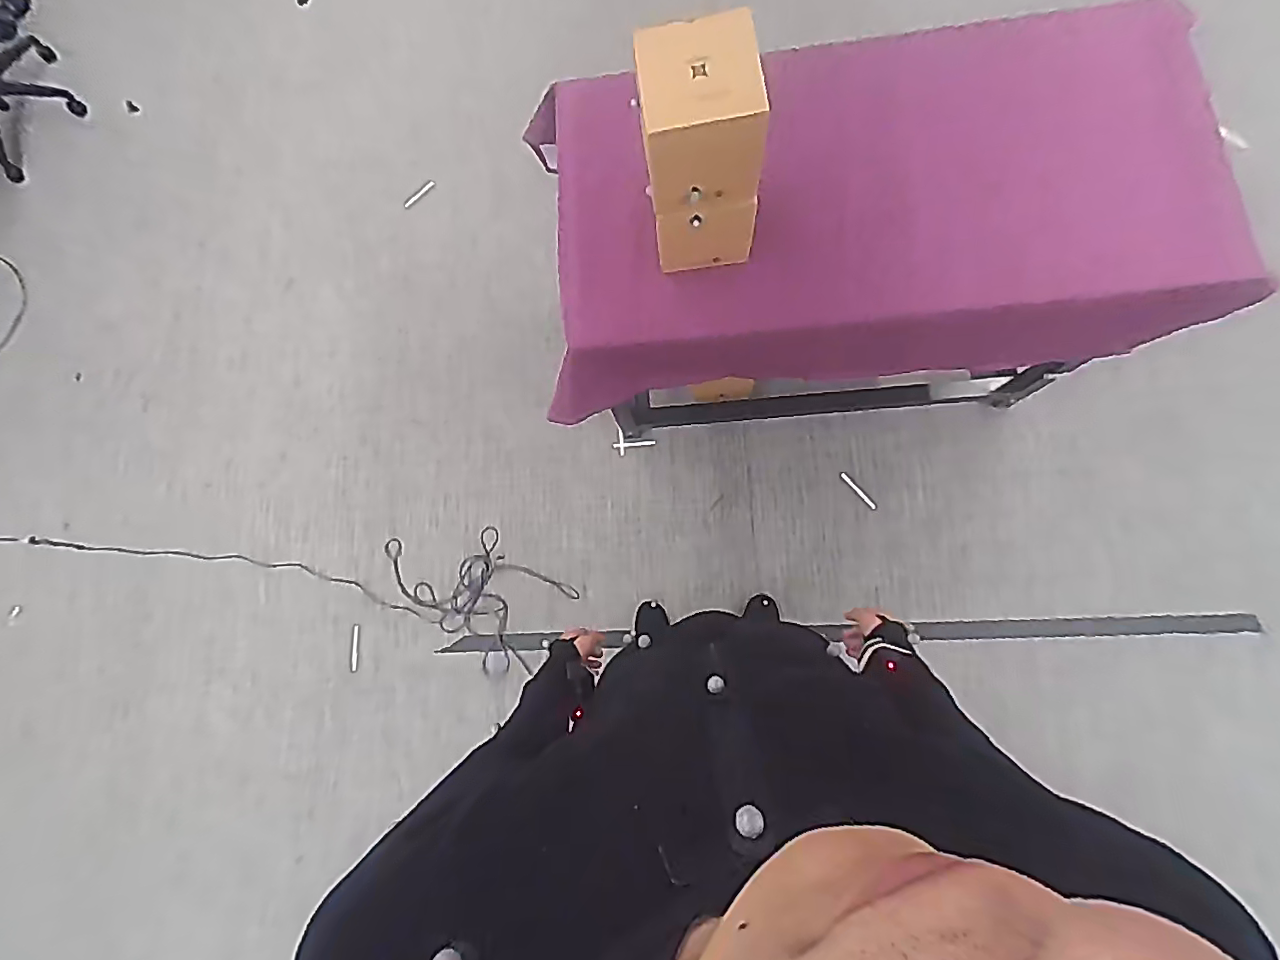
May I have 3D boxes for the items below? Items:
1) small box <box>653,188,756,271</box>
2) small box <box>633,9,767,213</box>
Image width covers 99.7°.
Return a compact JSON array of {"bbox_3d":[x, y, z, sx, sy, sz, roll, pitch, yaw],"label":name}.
[{"bbox_3d":[0.106,-0.504,0.965,0.168,0.176,0.179,-6,78,5],"label":"small box"},{"bbox_3d":[0.084,-0.537,0.806,0.168,0.176,0.179,-7,79,4],"label":"small box"}]
